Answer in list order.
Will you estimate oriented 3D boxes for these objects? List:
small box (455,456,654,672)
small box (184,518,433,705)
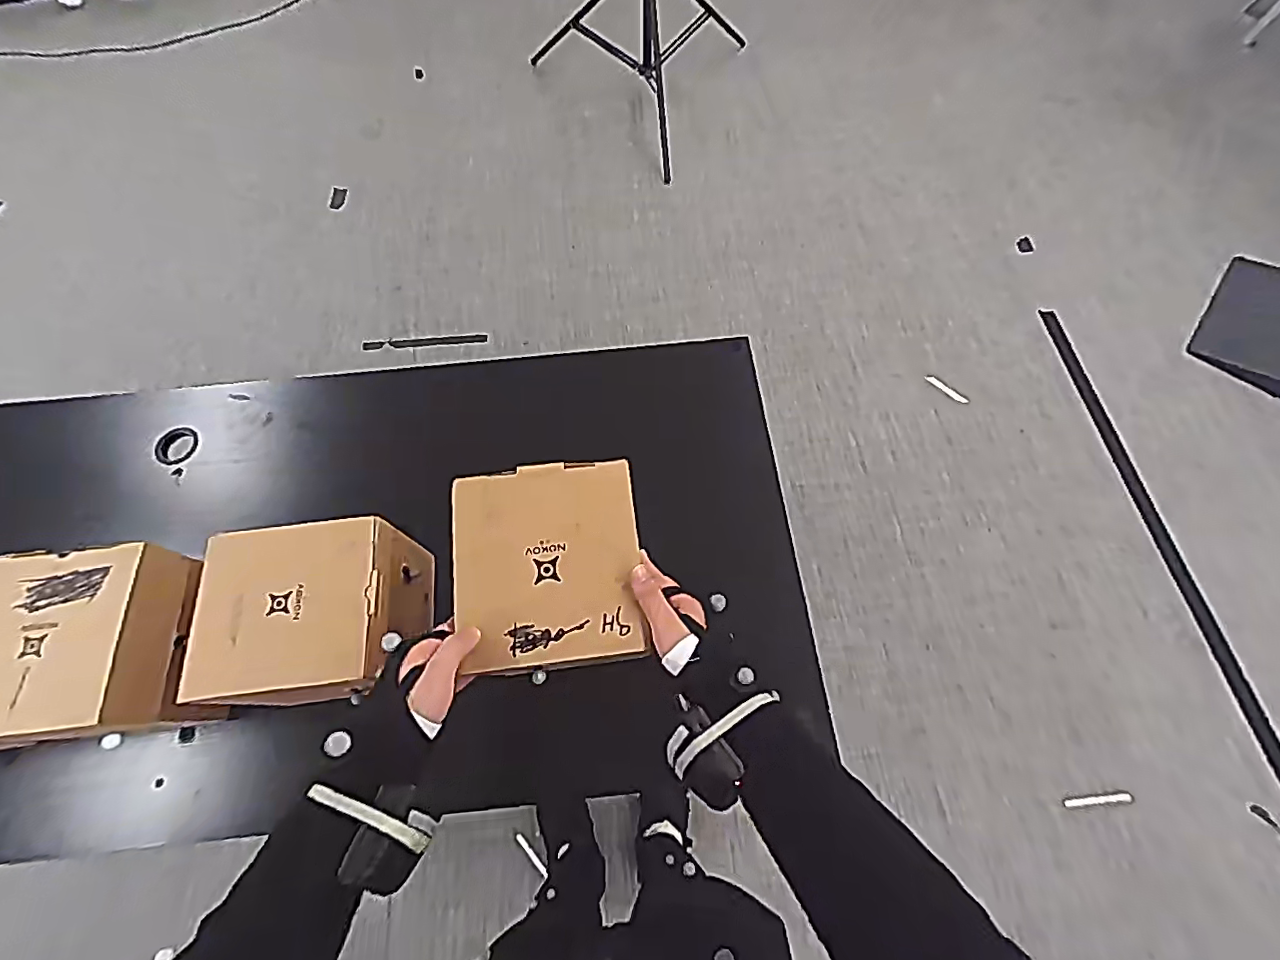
[{"bbox_3d":[-0.081,0.094,0.549,0.168,0.176,0.179,-7,71,-3],"label":"small box"},{"bbox_3d":[-0.347,0.155,0.609,0.179,0.176,0.168,-8,66,-1],"label":"small box"}]
